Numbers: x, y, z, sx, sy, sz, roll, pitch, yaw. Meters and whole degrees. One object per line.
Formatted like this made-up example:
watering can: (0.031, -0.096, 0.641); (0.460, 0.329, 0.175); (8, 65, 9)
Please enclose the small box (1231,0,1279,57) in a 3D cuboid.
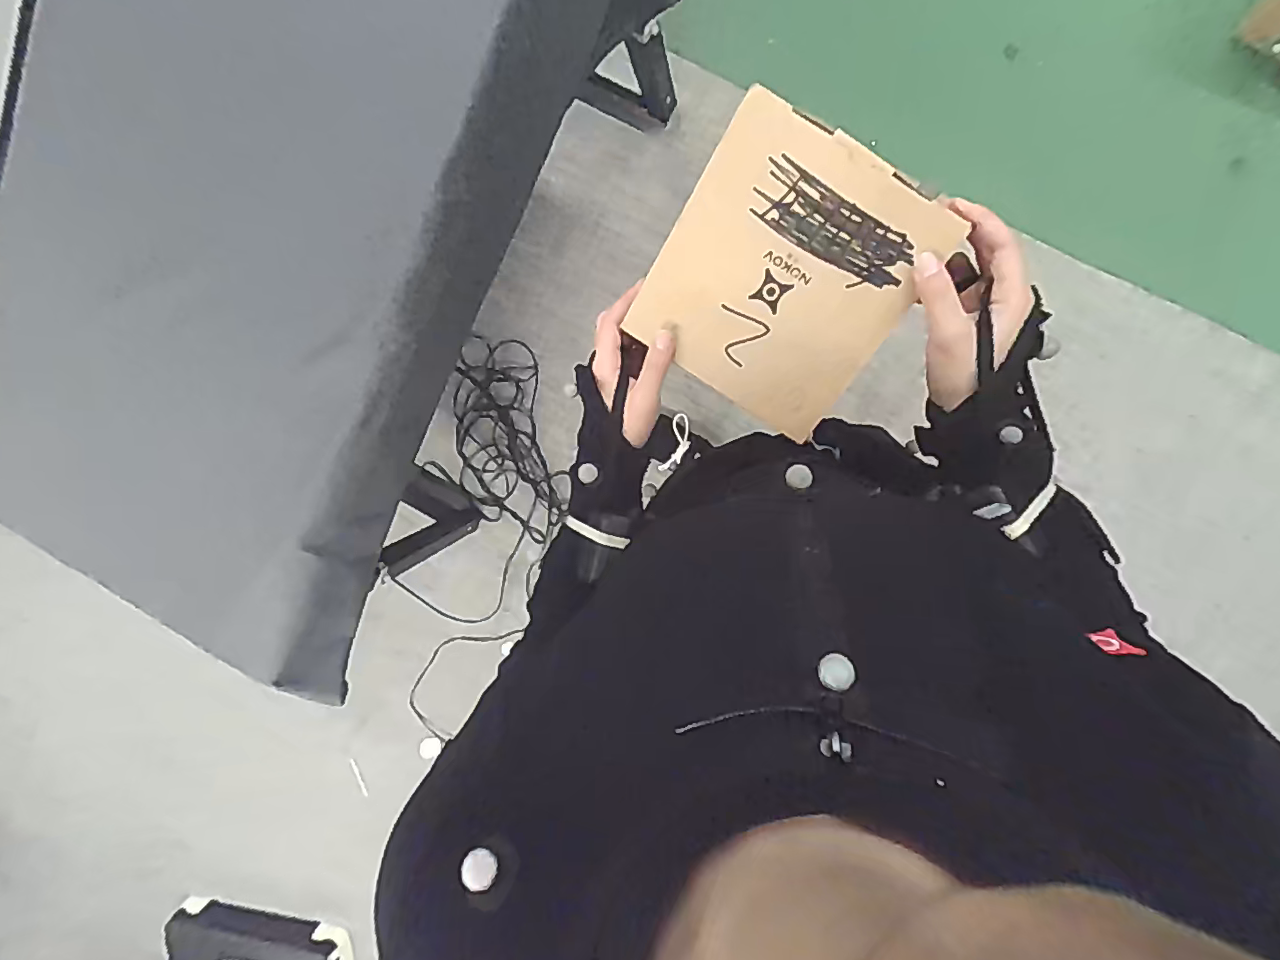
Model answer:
small box: (1.218, -0.887, 0.938); (0.168, 0.176, 0.179); (28, 105, 5)
